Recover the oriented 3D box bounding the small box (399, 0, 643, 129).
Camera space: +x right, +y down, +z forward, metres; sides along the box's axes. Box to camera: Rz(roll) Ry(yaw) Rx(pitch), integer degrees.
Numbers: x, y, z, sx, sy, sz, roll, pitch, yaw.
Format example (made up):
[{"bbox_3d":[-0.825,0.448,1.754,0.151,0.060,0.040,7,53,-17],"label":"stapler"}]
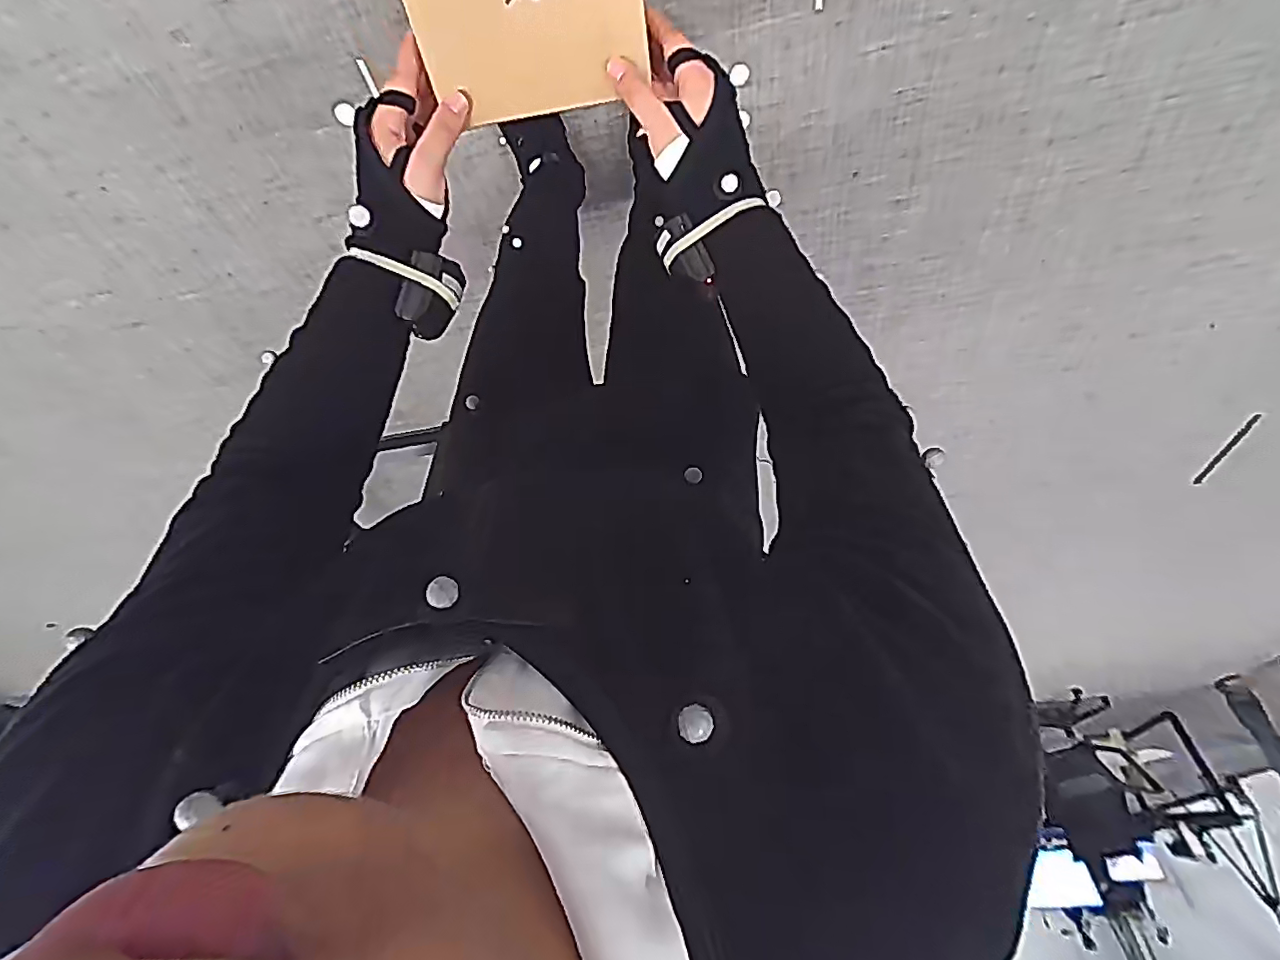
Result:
[{"bbox_3d":[-0.090,-0.404,0.418,0.168,0.176,0.179,-8,135,4],"label":"small box"}]
